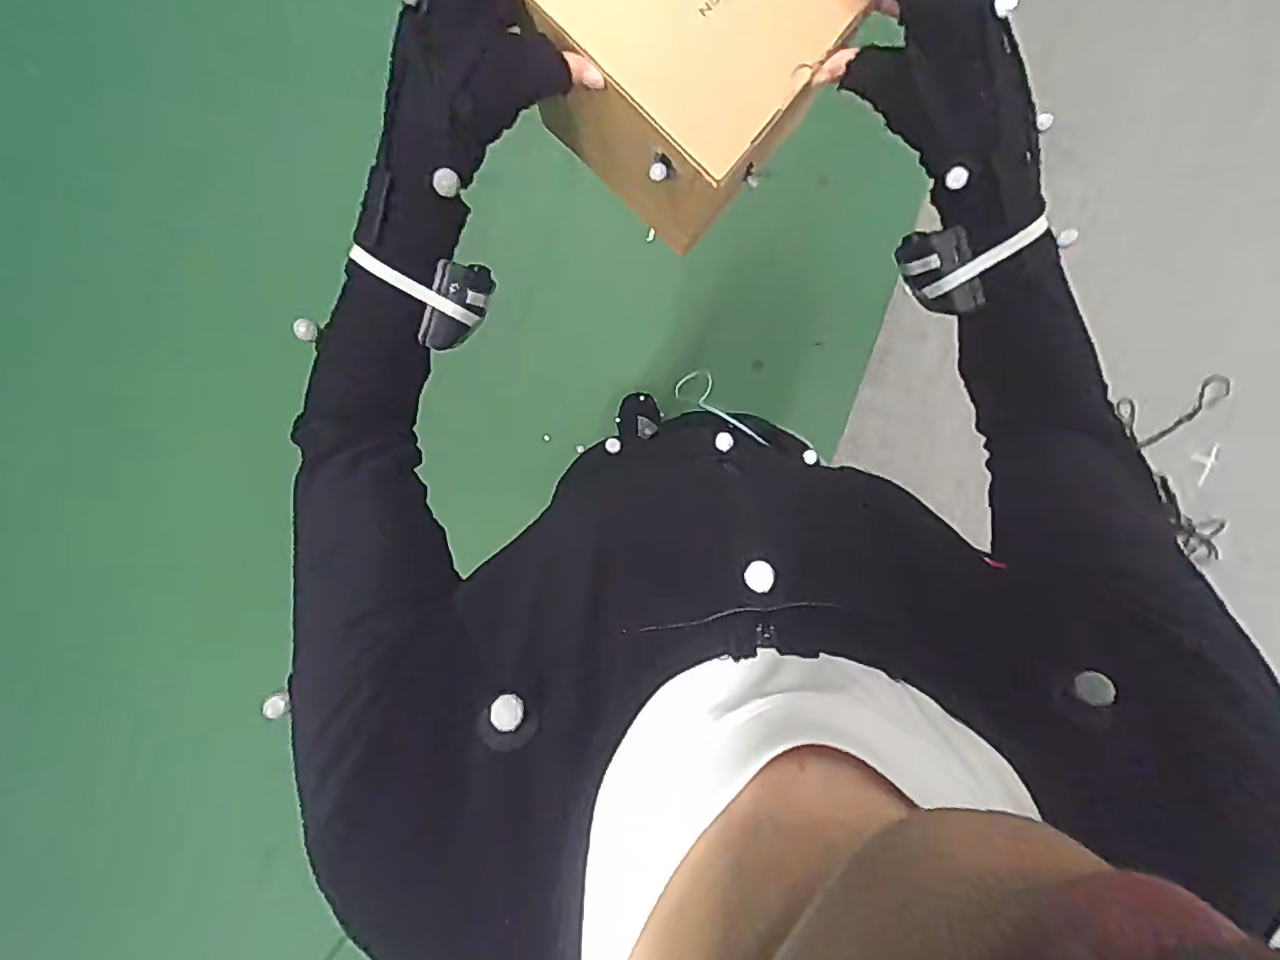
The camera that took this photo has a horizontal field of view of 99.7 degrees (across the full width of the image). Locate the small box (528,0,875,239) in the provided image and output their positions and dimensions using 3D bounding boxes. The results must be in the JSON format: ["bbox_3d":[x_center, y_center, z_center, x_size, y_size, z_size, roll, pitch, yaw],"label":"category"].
[{"bbox_3d":[0.033,-0.321,0.413,0.179,0.176,0.168,41,94,-8],"label":"small box"}]
